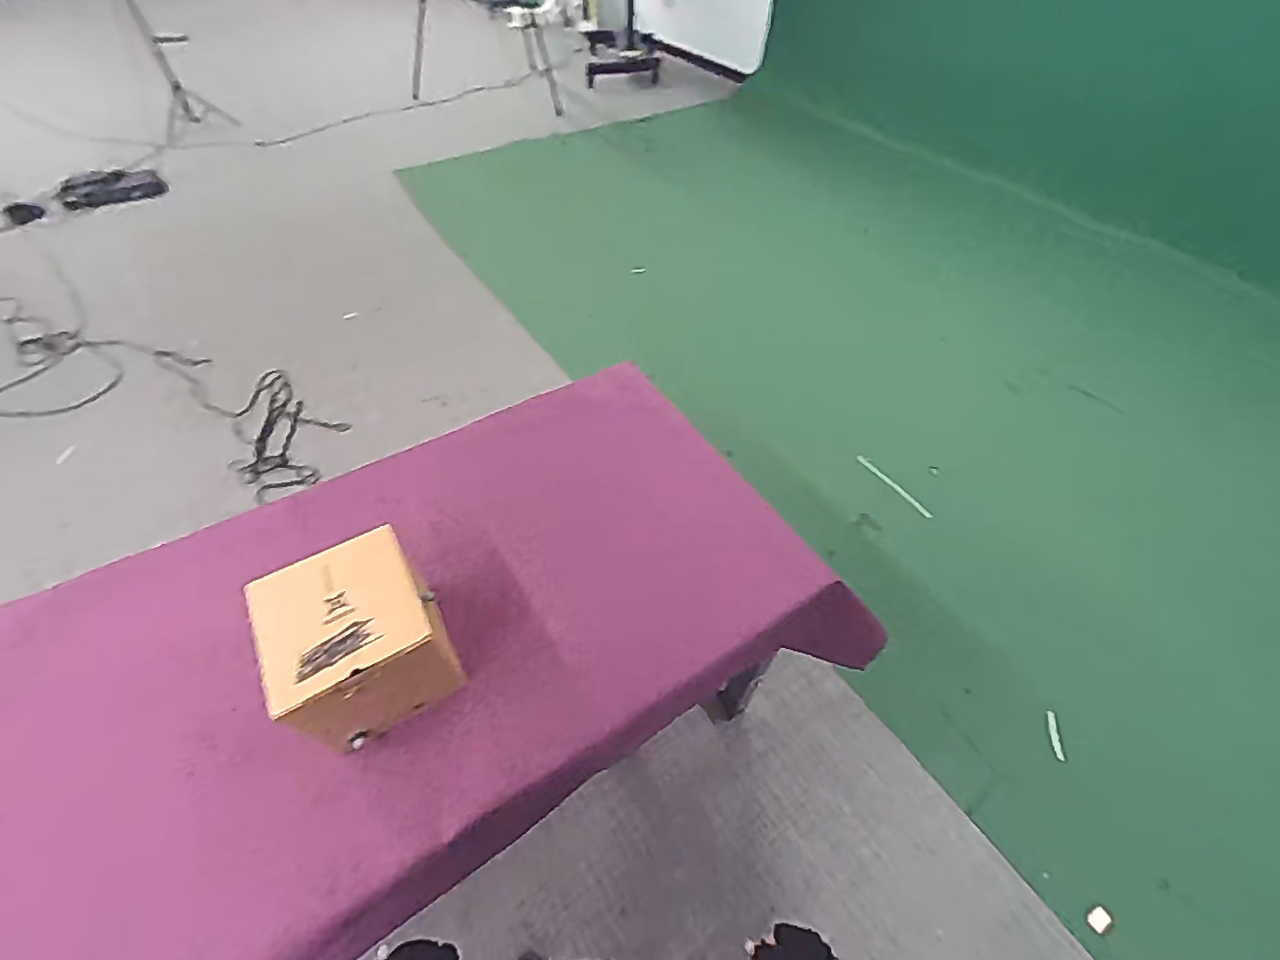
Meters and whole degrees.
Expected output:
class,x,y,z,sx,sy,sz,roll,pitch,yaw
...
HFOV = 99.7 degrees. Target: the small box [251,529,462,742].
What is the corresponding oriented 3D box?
class,x,y,z,sx,sy,sz,roll,pitch,yaw
small box,-0.343,0.200,0.677,0.168,0.176,0.179,-25,55,-20
